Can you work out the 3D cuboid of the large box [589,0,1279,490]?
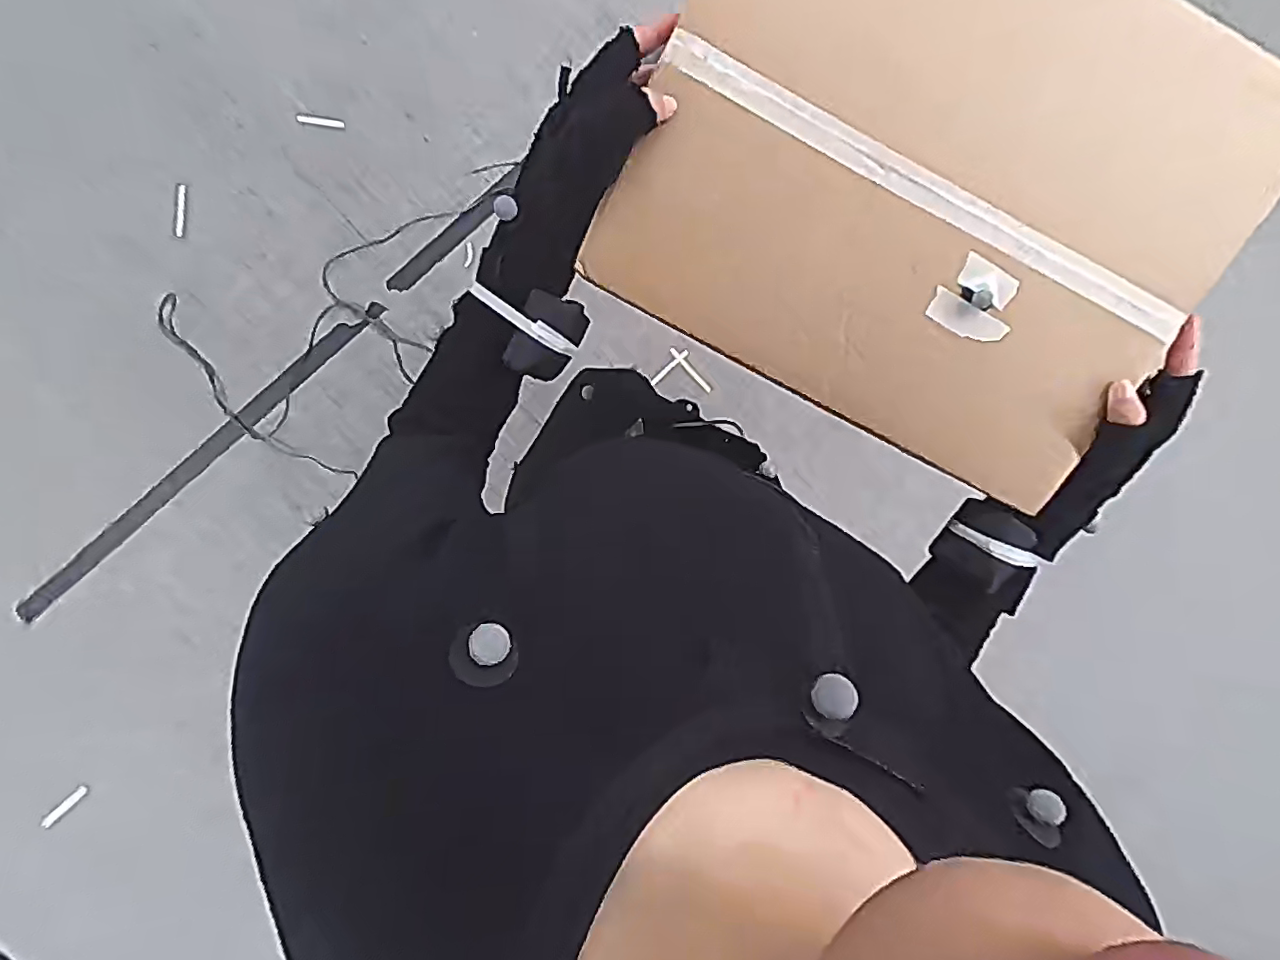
[{"bbox_3d":[0.208,-0.246,0.527,0.408,0.320,0.320,27,107,-4],"label":"large box"}]
